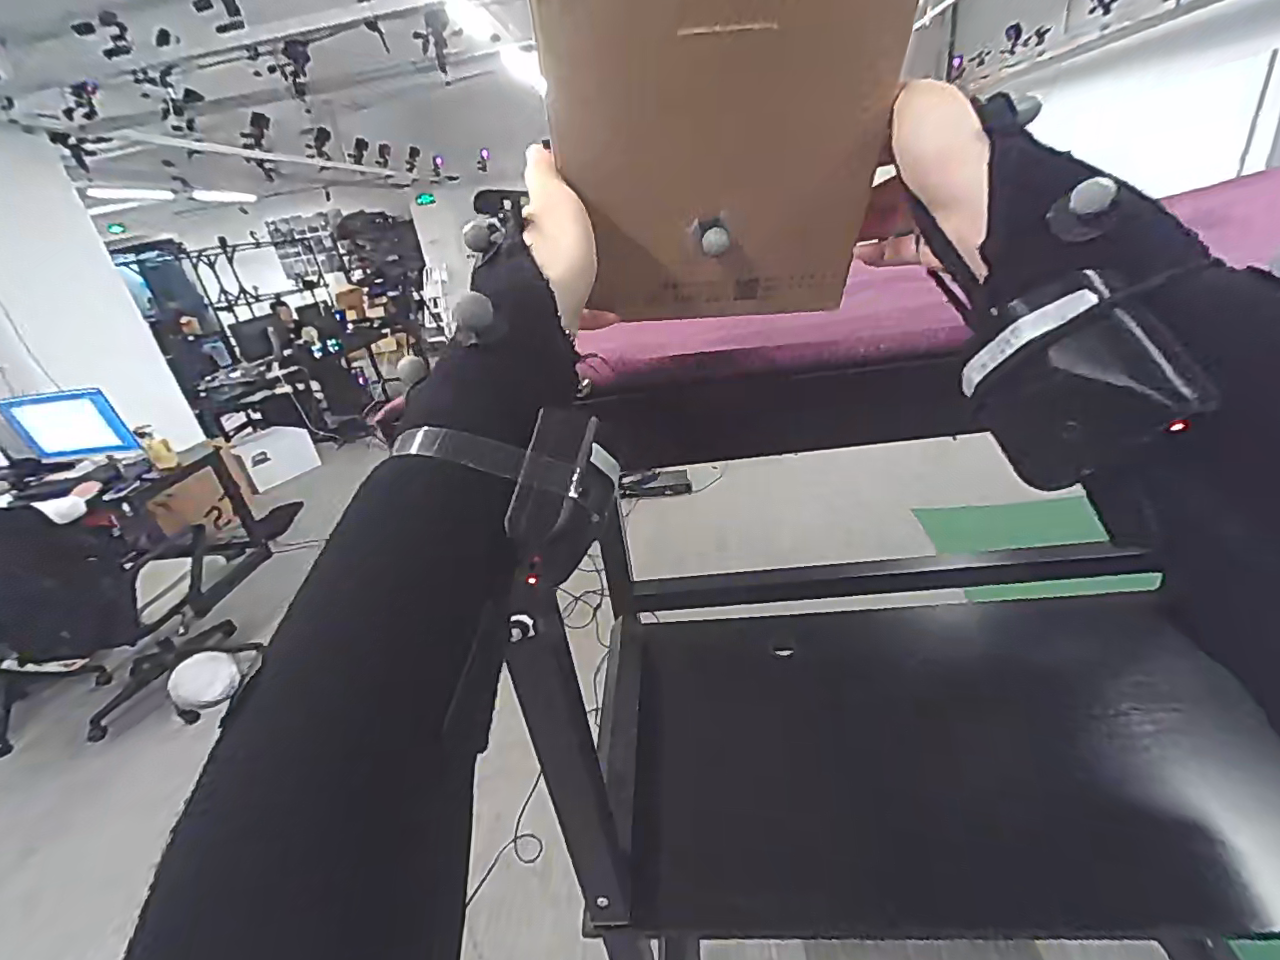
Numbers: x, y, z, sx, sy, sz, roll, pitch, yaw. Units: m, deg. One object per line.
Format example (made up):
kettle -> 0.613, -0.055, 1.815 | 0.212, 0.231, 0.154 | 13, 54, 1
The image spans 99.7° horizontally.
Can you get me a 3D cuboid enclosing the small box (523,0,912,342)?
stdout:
small box -> 0.036, -0.208, 0.339 | 0.168, 0.176, 0.179 | -3, 51, 3
